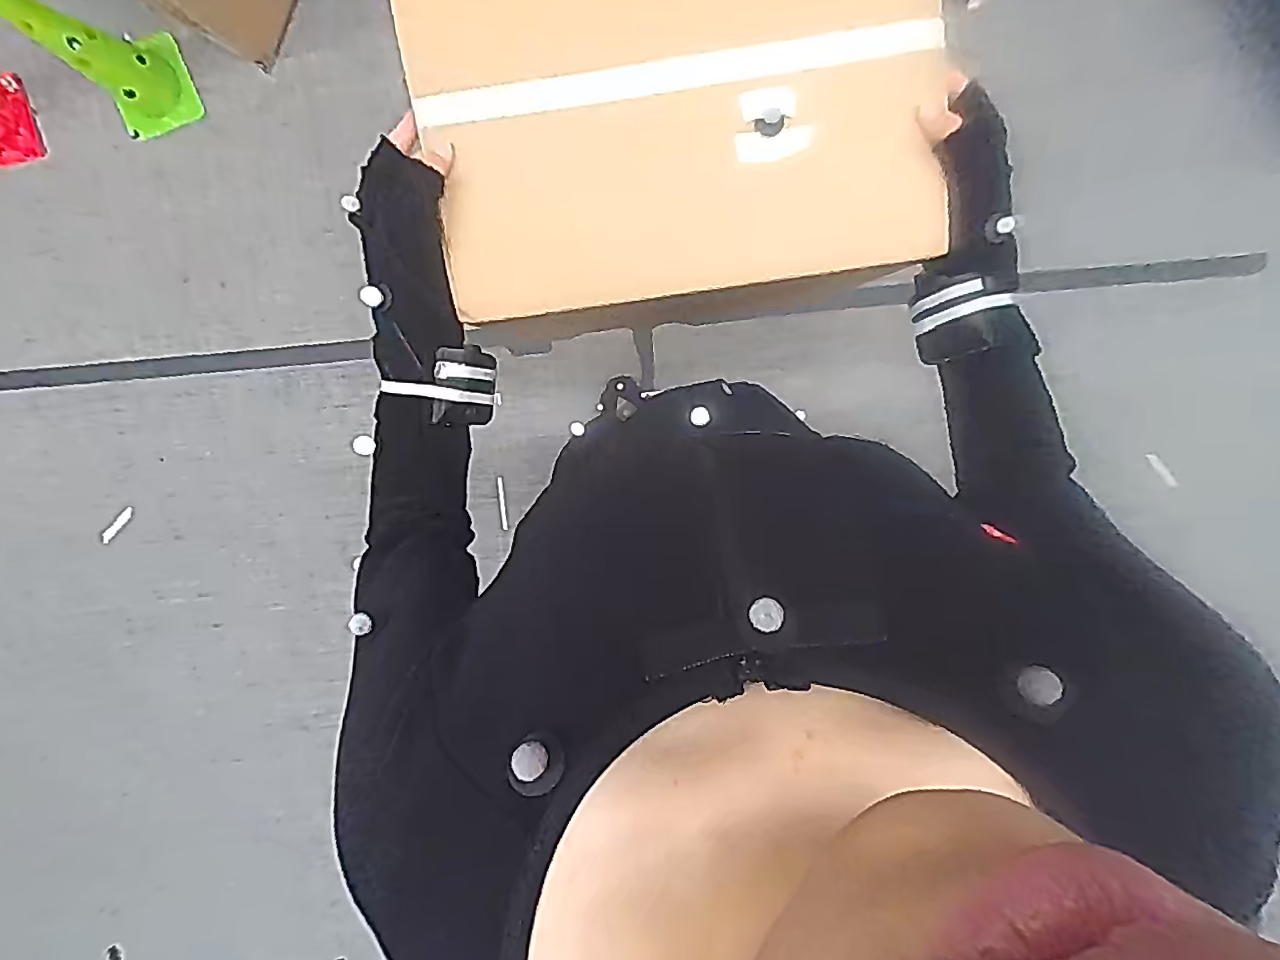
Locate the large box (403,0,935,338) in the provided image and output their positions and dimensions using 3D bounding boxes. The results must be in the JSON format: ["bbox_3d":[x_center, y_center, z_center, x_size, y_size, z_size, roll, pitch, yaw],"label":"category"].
[{"bbox_3d":[0.024,-0.345,0.569,0.408,0.320,0.320,-8,102,1],"label":"large box"}]
